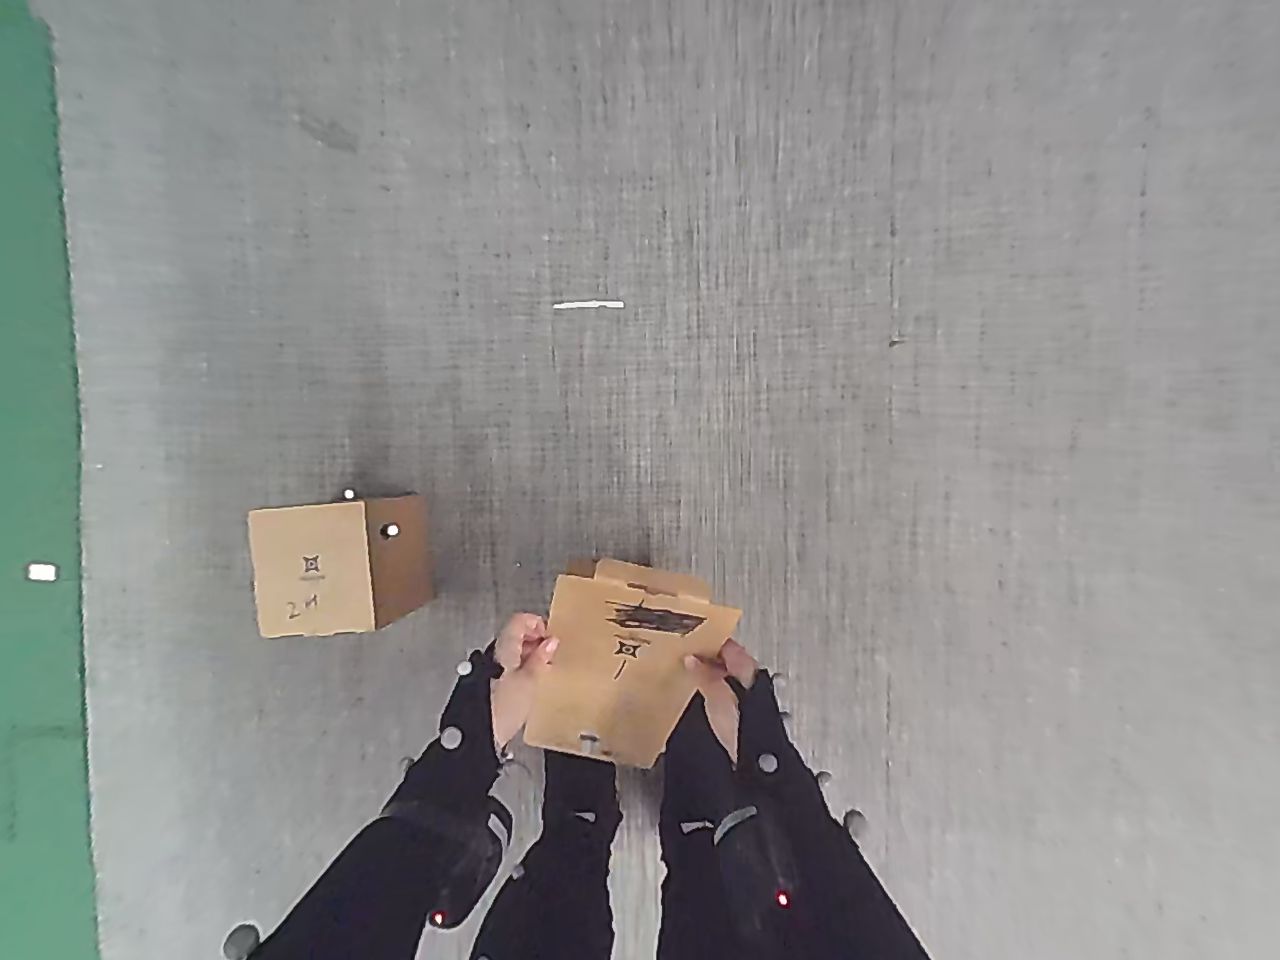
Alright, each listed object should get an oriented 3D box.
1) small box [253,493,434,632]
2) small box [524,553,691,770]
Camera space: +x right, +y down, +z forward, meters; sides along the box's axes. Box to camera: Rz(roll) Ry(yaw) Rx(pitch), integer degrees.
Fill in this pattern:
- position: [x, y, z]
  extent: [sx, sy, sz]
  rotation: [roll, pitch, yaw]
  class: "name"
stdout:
- position: [-0.420, 0.110, 0.790]
  extent: [0.168, 0.176, 0.179]
  rotation: [-4, 91, 5]
  class: "small box"
- position: [-0.040, 0.225, 0.675]
  extent: [0.168, 0.179, 0.176]
  rotation: [14, 128, -4]
  class: "small box"
